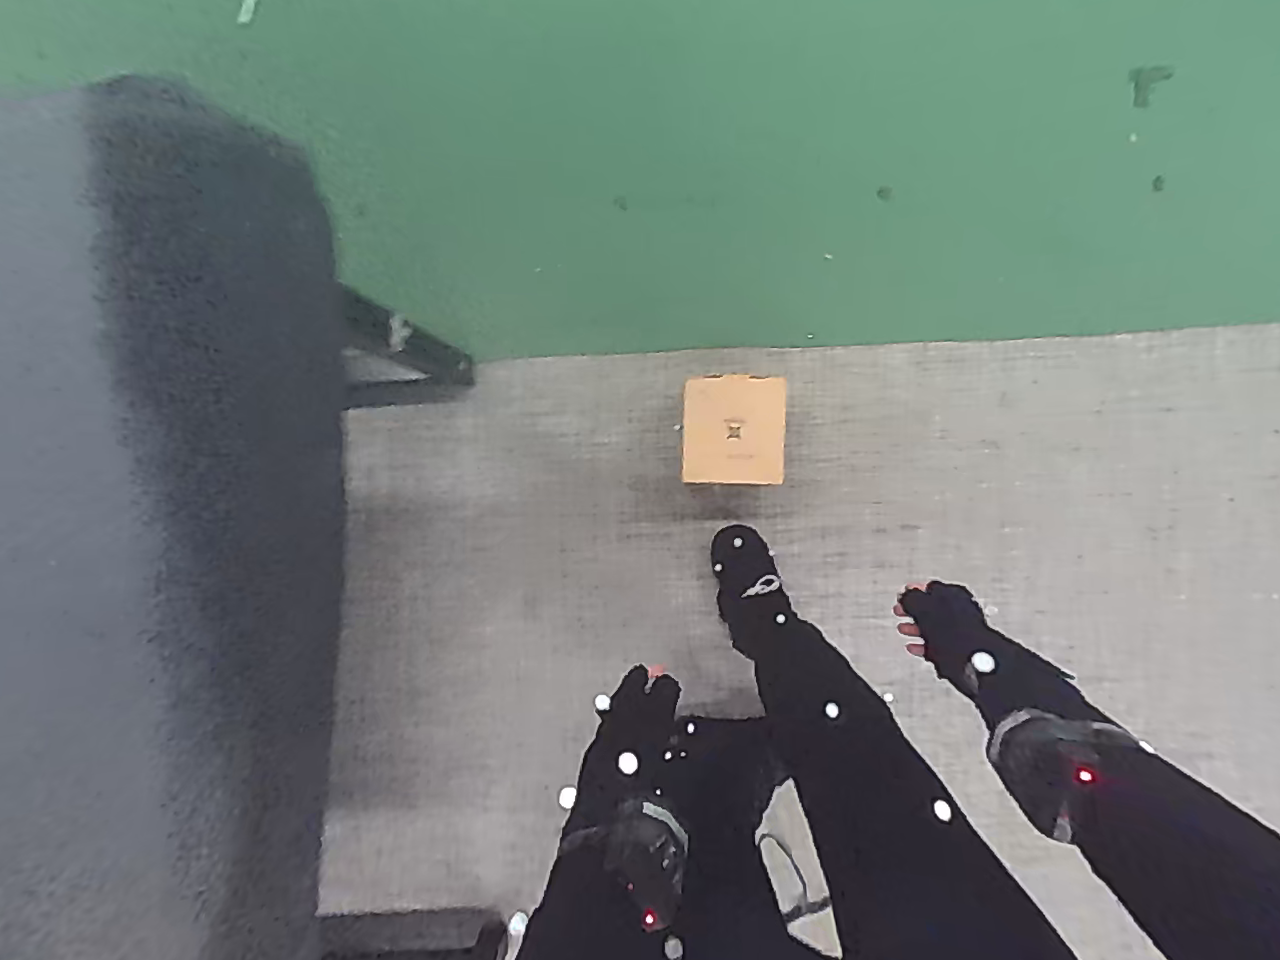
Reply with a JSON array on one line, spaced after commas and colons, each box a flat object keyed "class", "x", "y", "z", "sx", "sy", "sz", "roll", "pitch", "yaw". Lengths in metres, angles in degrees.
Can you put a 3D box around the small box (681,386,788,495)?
[{"class": "small box", "x": 0.160, "y": -0.067, "z": 0.958, "sx": 0.168, "sy": 0.176, "sz": 0.179, "roll": 1, "pitch": 92, "yaw": 3}]
